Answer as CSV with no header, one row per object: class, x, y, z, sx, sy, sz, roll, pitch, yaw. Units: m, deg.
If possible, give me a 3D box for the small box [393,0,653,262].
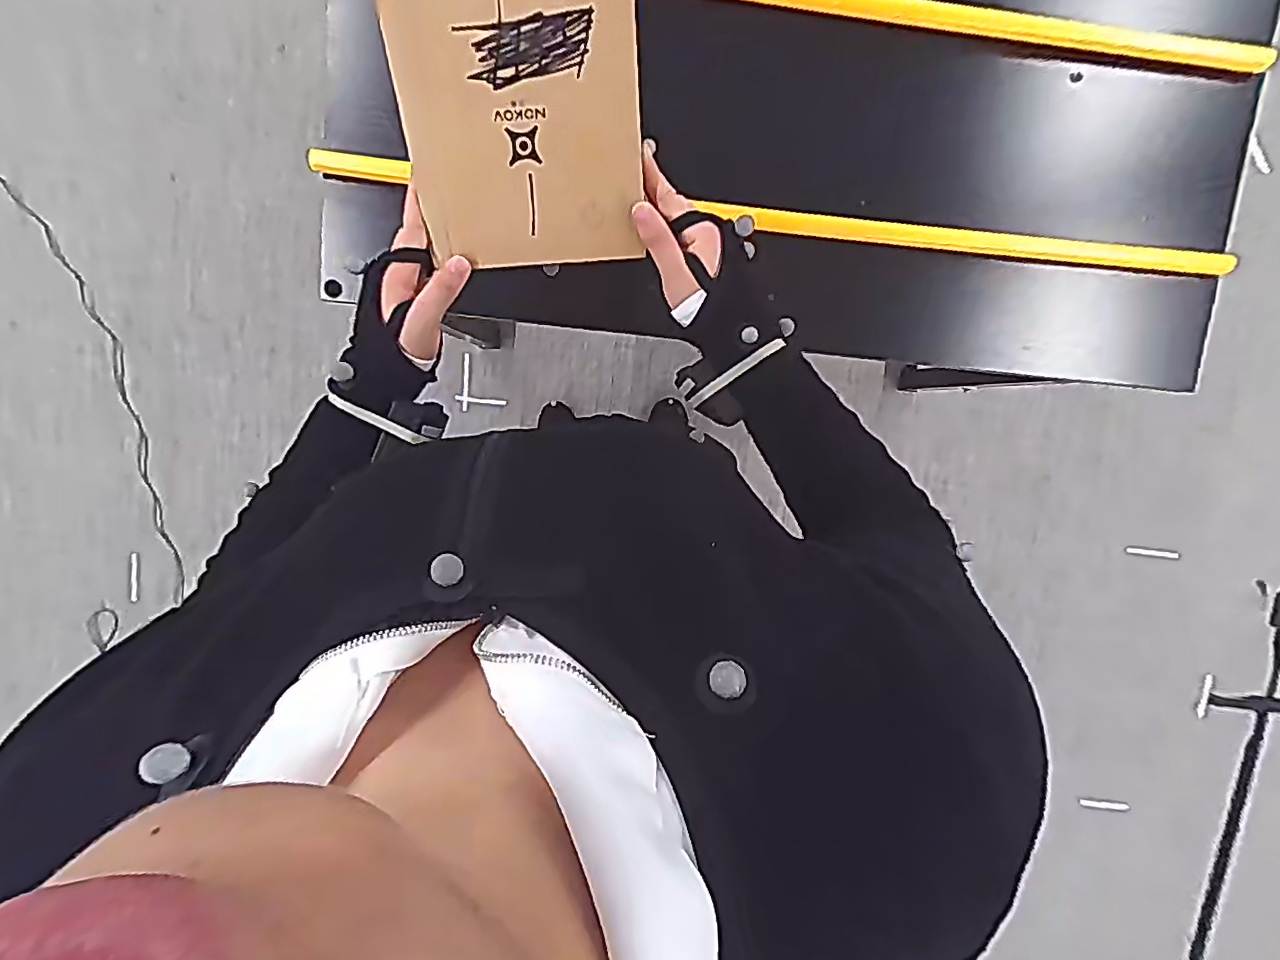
small box,-0.078,-0.284,0.449,0.168,0.176,0.179,-3,117,-1
